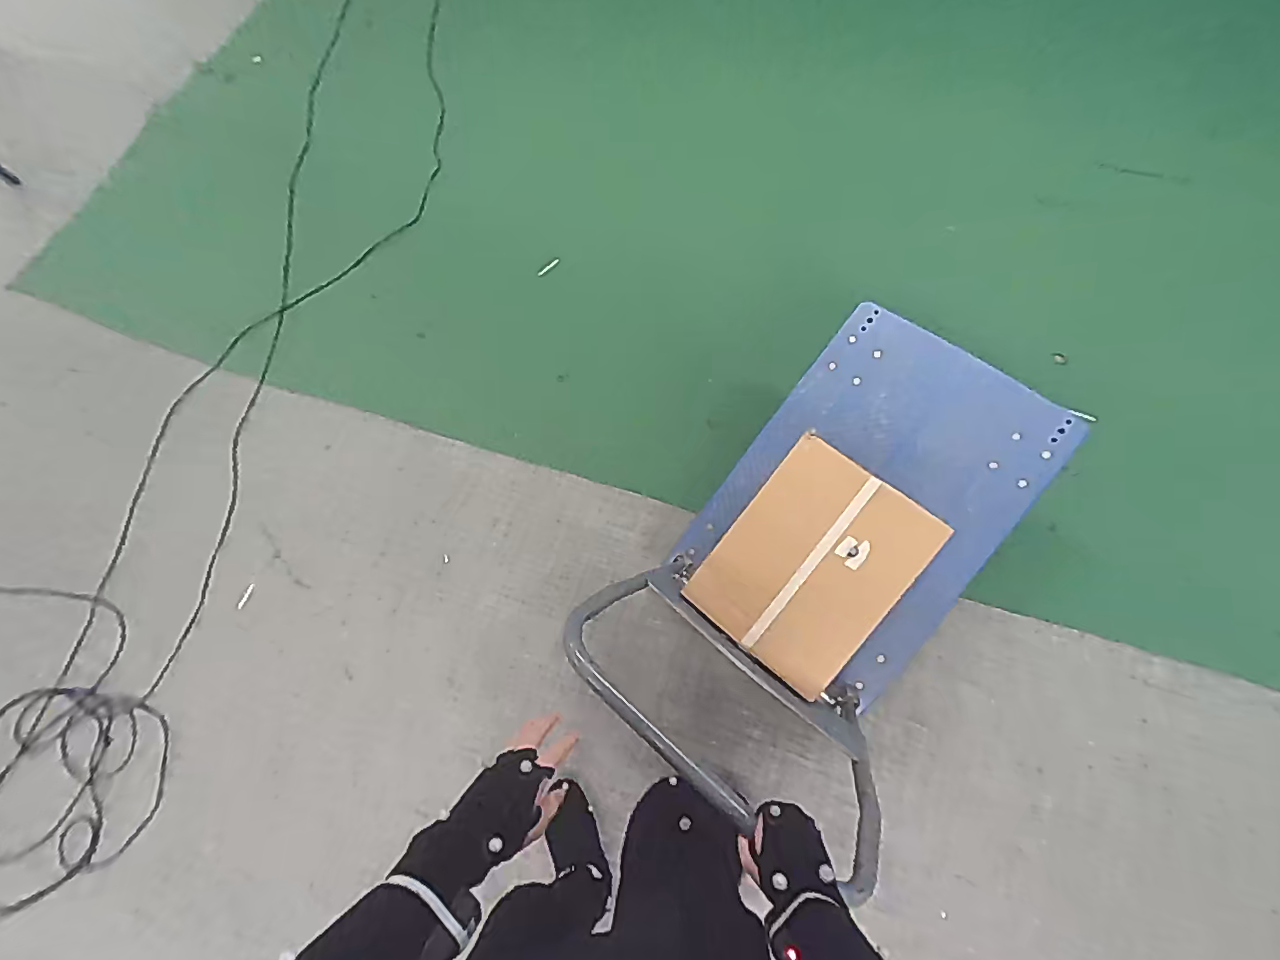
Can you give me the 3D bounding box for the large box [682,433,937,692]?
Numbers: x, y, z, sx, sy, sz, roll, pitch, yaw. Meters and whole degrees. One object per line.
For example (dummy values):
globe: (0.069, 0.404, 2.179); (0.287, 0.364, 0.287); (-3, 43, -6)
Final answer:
large box: (0.351, 0.174, 1.179); (0.320, 0.320, 0.408); (39, 93, 16)
